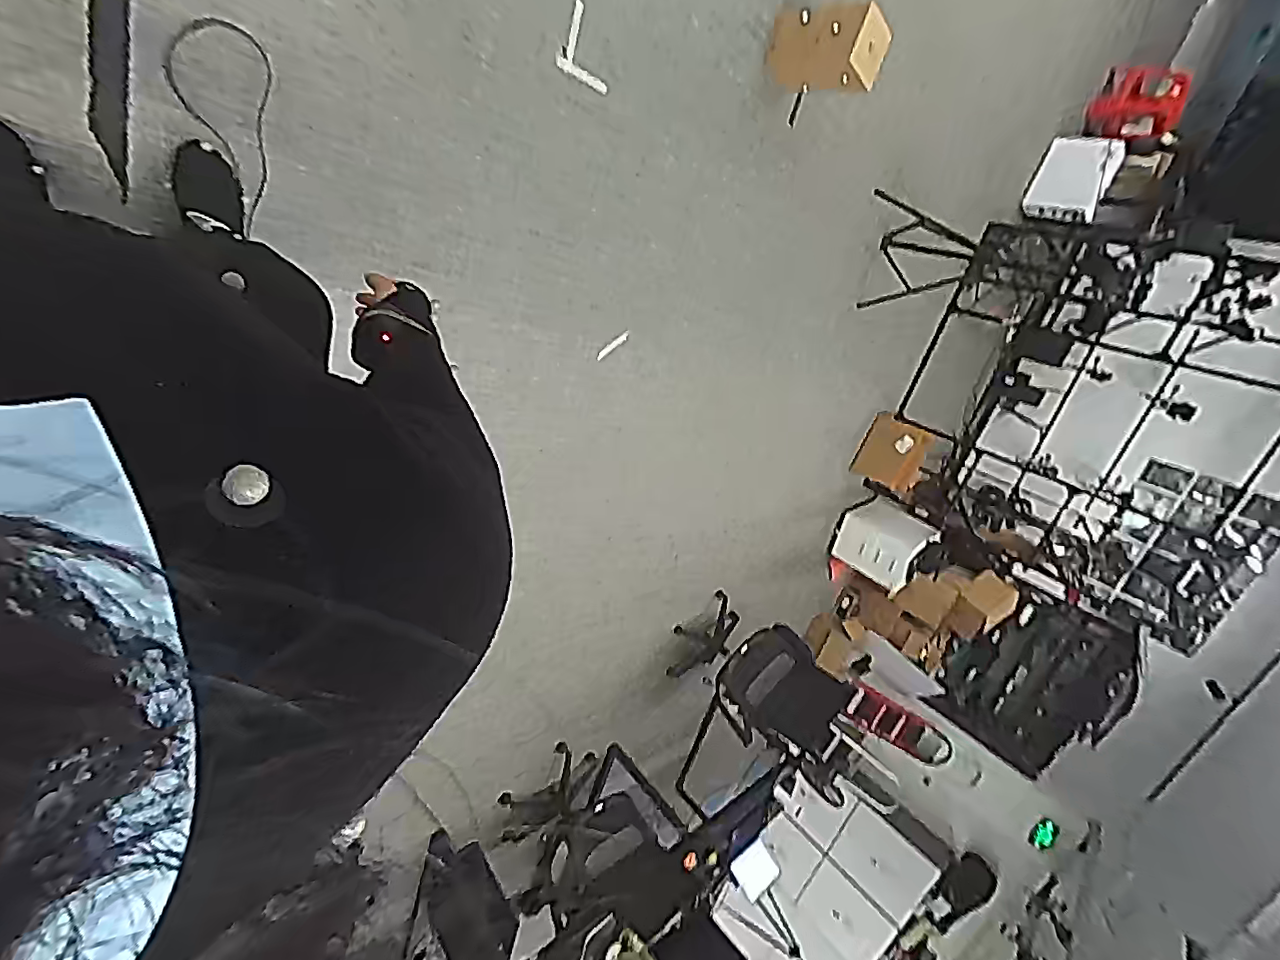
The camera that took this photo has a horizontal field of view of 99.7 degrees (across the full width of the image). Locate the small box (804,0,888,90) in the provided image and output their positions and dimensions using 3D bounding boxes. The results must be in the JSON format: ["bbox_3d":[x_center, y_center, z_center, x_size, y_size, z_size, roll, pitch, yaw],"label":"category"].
[{"bbox_3d":[0.657,-1.386,1.734,0.179,0.176,0.168,3,114,-49],"label":"small box"}]
